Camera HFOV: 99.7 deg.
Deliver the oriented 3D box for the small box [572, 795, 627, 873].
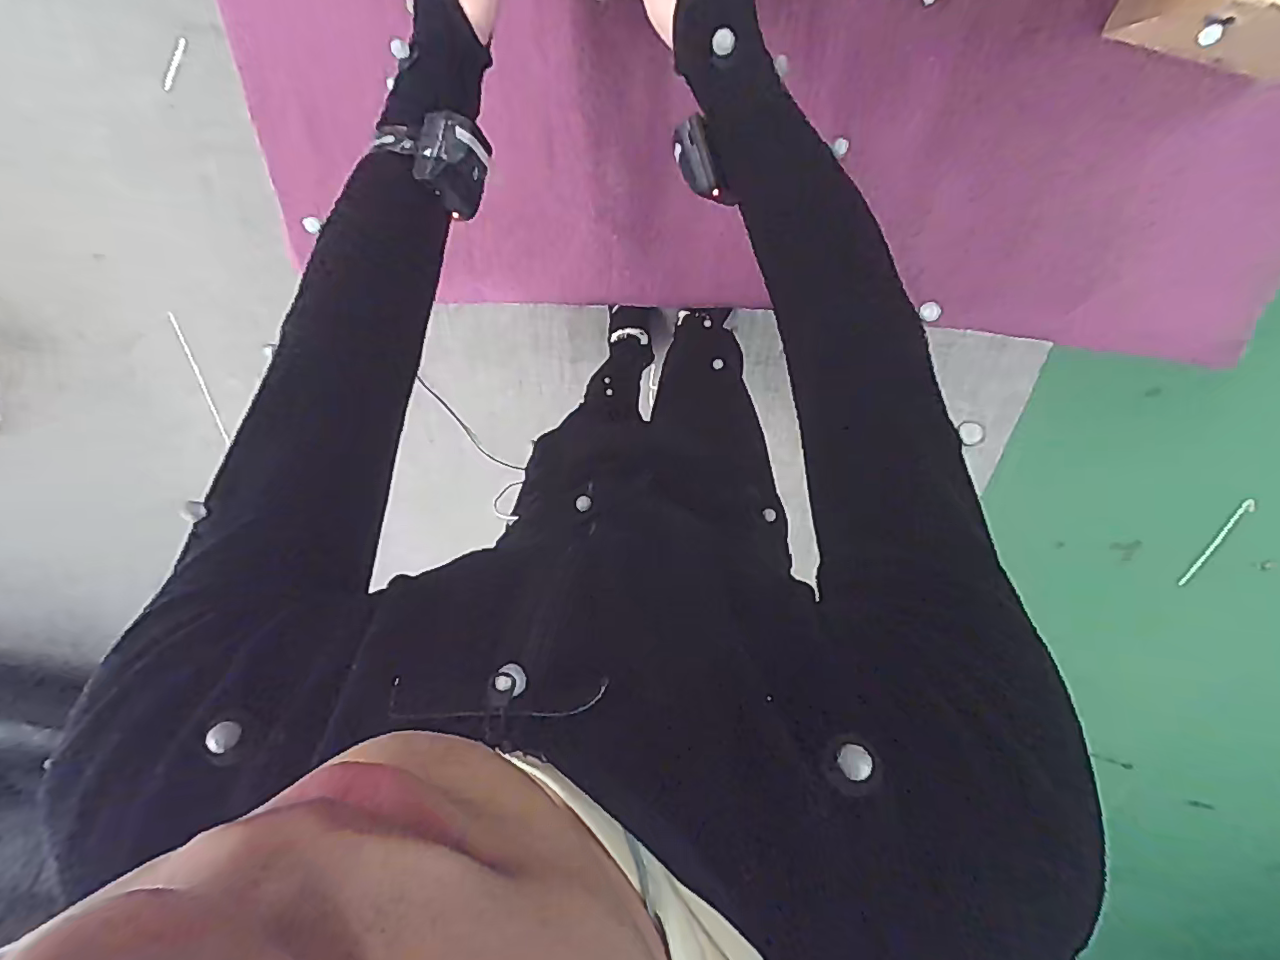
[{"bbox_3d":[-0.147,1.298,1.987,0.168,0.176,0.179,9,122,6],"label":"small box"}]
